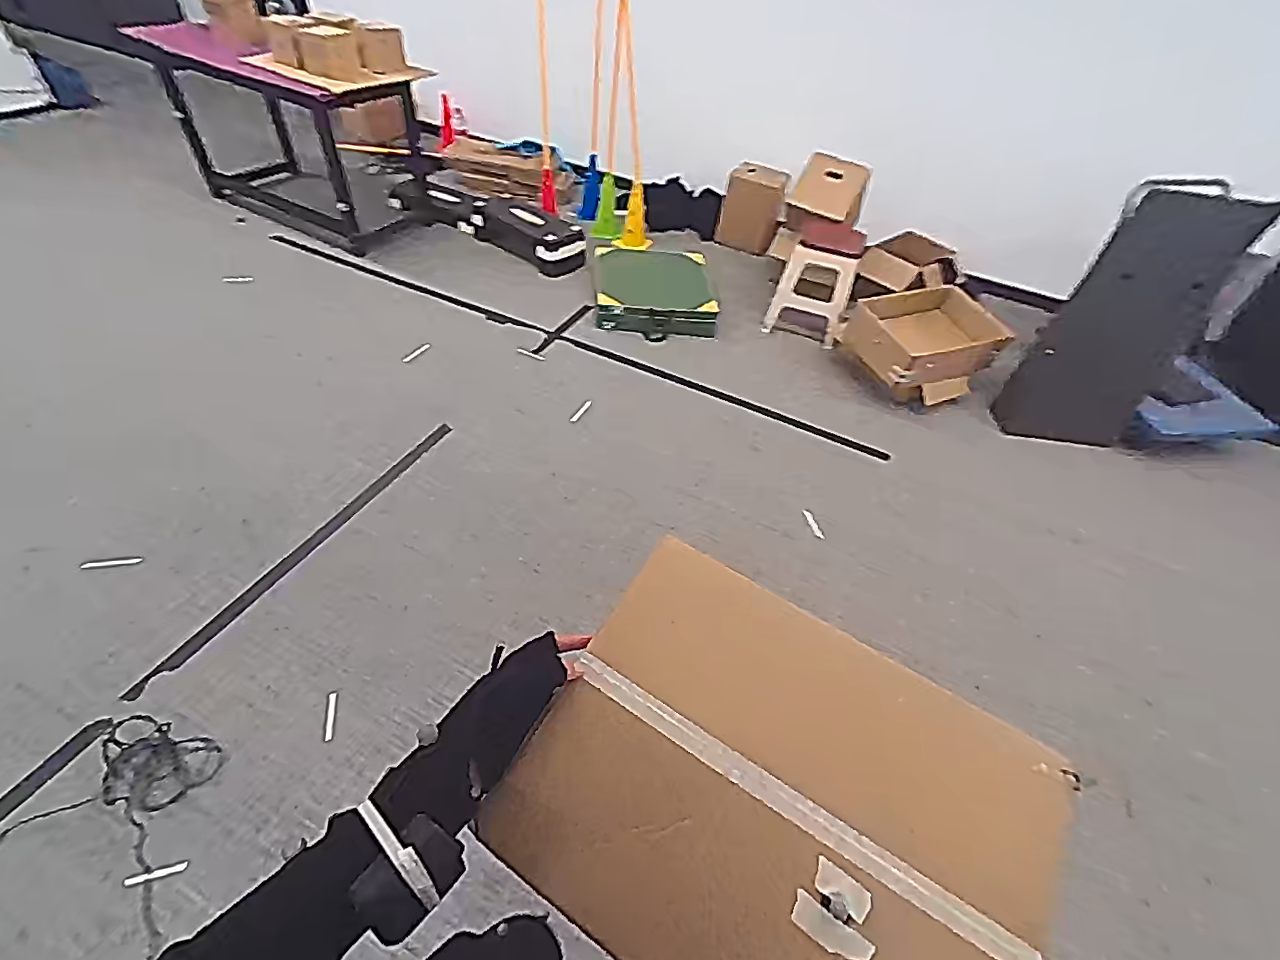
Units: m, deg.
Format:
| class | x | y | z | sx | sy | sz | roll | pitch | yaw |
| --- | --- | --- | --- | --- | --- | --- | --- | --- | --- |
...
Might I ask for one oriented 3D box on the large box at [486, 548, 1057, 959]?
| class | x | y | z | sx | sy | sz | roll | pitch | yaw |
| --- | --- | --- | --- | --- | --- | --- | --- | --- | --- |
| large box | 0.115 | 0.345 | 0.582 | 0.408 | 0.320 | 0.320 | 28 | 63 | 17 |
